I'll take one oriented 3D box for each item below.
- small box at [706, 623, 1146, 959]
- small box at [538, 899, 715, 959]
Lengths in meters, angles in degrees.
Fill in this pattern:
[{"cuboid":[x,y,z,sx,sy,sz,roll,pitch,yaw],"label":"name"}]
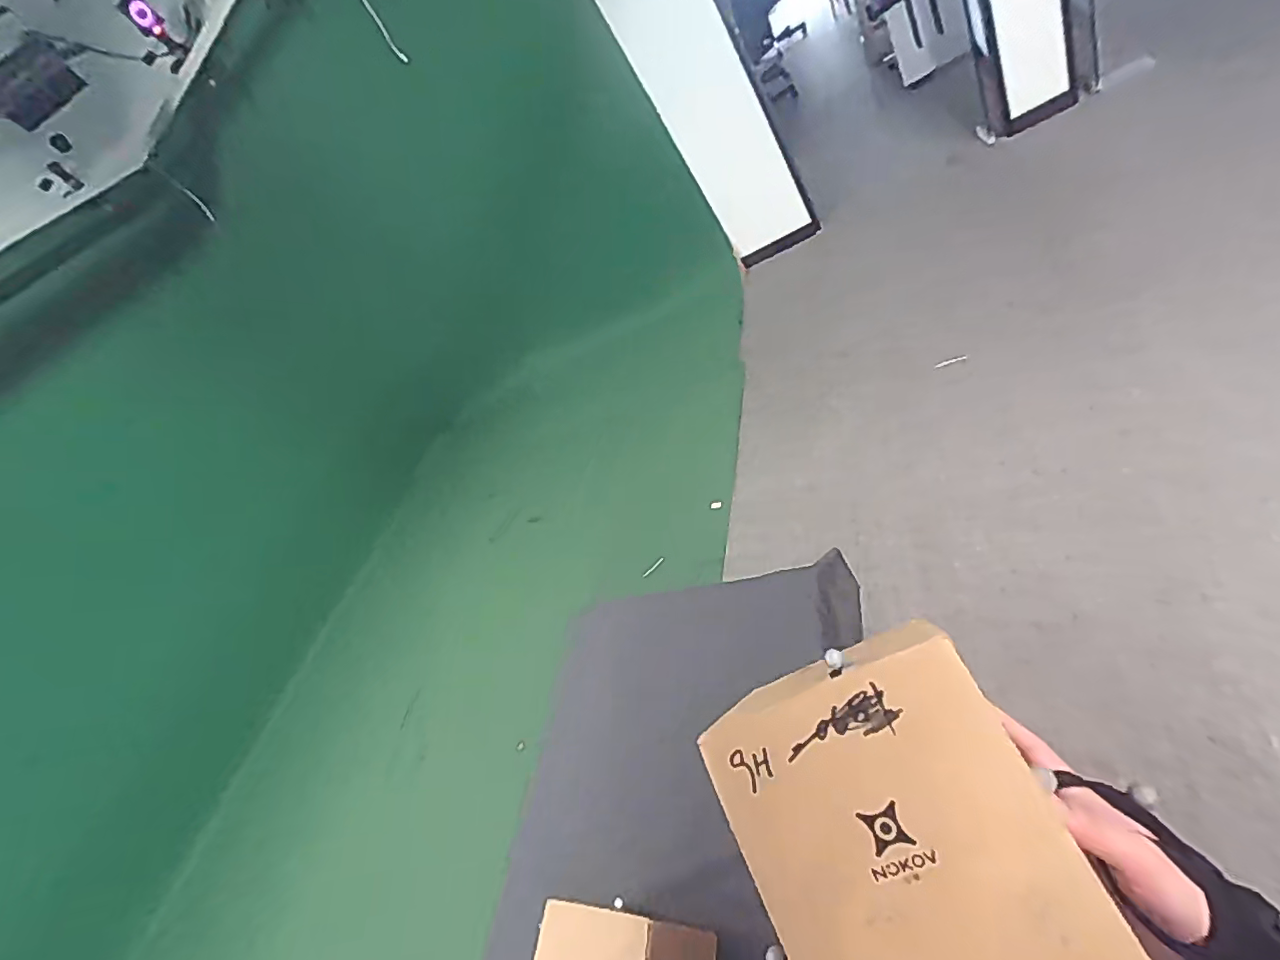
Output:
[{"cuboid":[0.172,0.214,0.369,0.168,0.176,0.179,-30,71,14],"label":"small box"},{"cuboid":[-0.021,0.662,0.691,0.179,0.176,0.168,-19,41,32],"label":"small box"}]
